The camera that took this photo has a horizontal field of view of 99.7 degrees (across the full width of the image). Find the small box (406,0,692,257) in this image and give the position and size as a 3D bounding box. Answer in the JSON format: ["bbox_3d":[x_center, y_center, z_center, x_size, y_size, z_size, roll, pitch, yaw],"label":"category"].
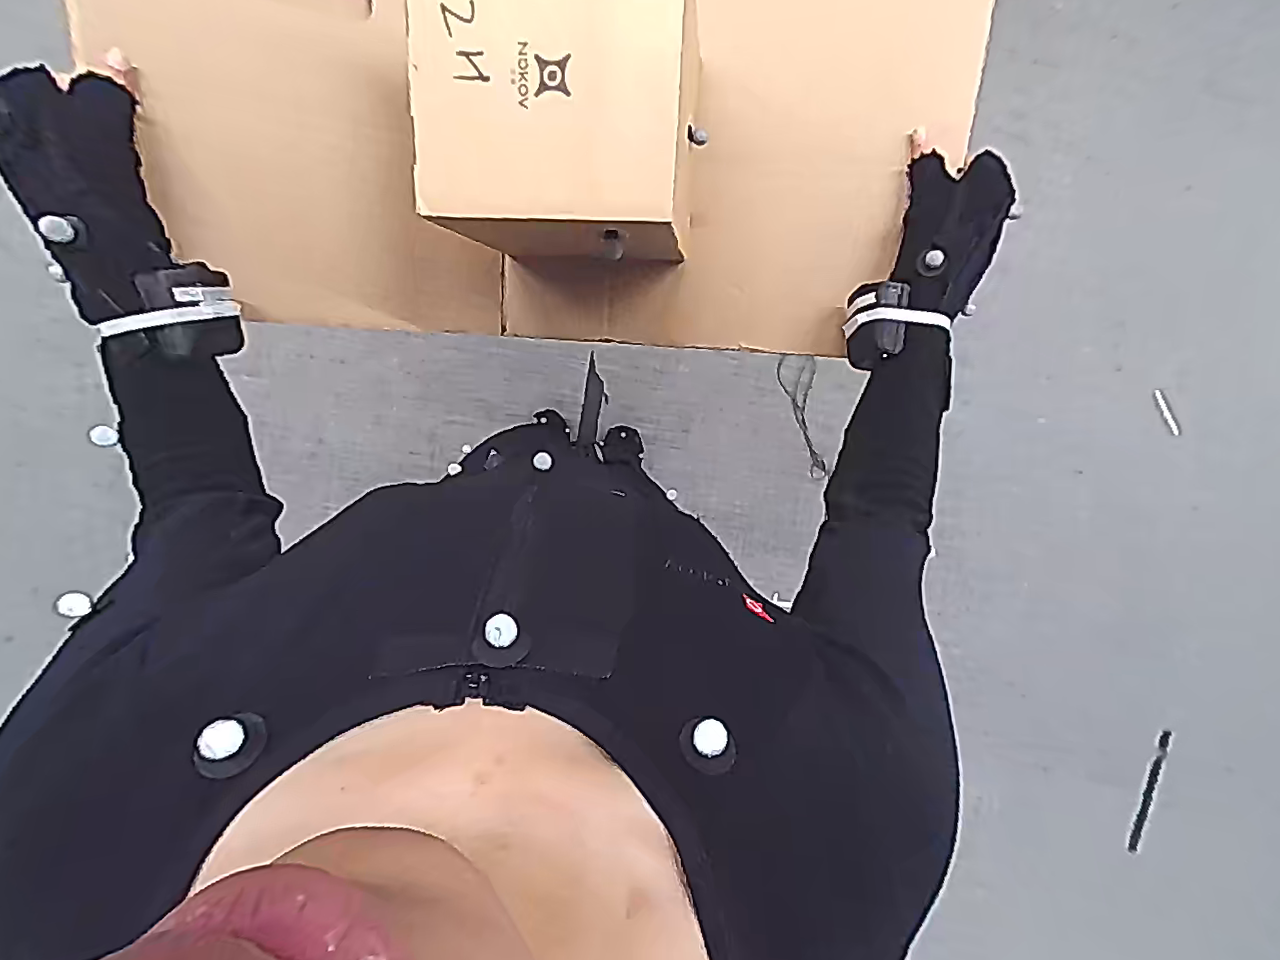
[{"bbox_3d":[-0.054,-0.274,0.420,0.179,0.176,0.168,5,105,7],"label":"small box"}]
